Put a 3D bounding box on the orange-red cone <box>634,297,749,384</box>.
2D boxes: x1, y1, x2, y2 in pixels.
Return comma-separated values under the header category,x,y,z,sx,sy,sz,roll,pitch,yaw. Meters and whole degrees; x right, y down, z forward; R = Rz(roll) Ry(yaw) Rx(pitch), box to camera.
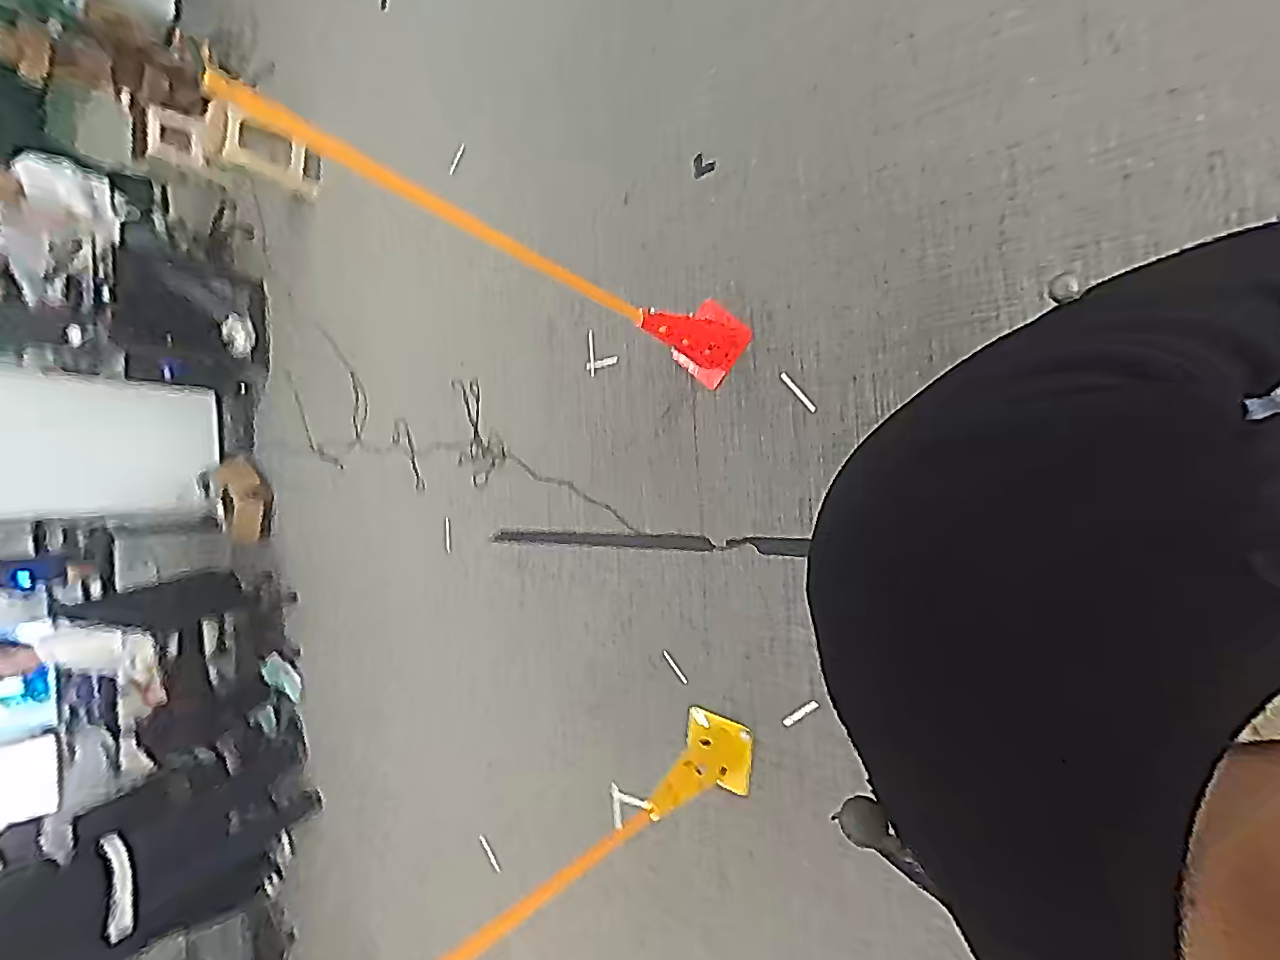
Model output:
category,x,y,z,sx,sy,sz,roll,pitch,yaw
orange-red cone,0.104,-0.399,1.431,0.199,0.360,0.198,48,118,24
